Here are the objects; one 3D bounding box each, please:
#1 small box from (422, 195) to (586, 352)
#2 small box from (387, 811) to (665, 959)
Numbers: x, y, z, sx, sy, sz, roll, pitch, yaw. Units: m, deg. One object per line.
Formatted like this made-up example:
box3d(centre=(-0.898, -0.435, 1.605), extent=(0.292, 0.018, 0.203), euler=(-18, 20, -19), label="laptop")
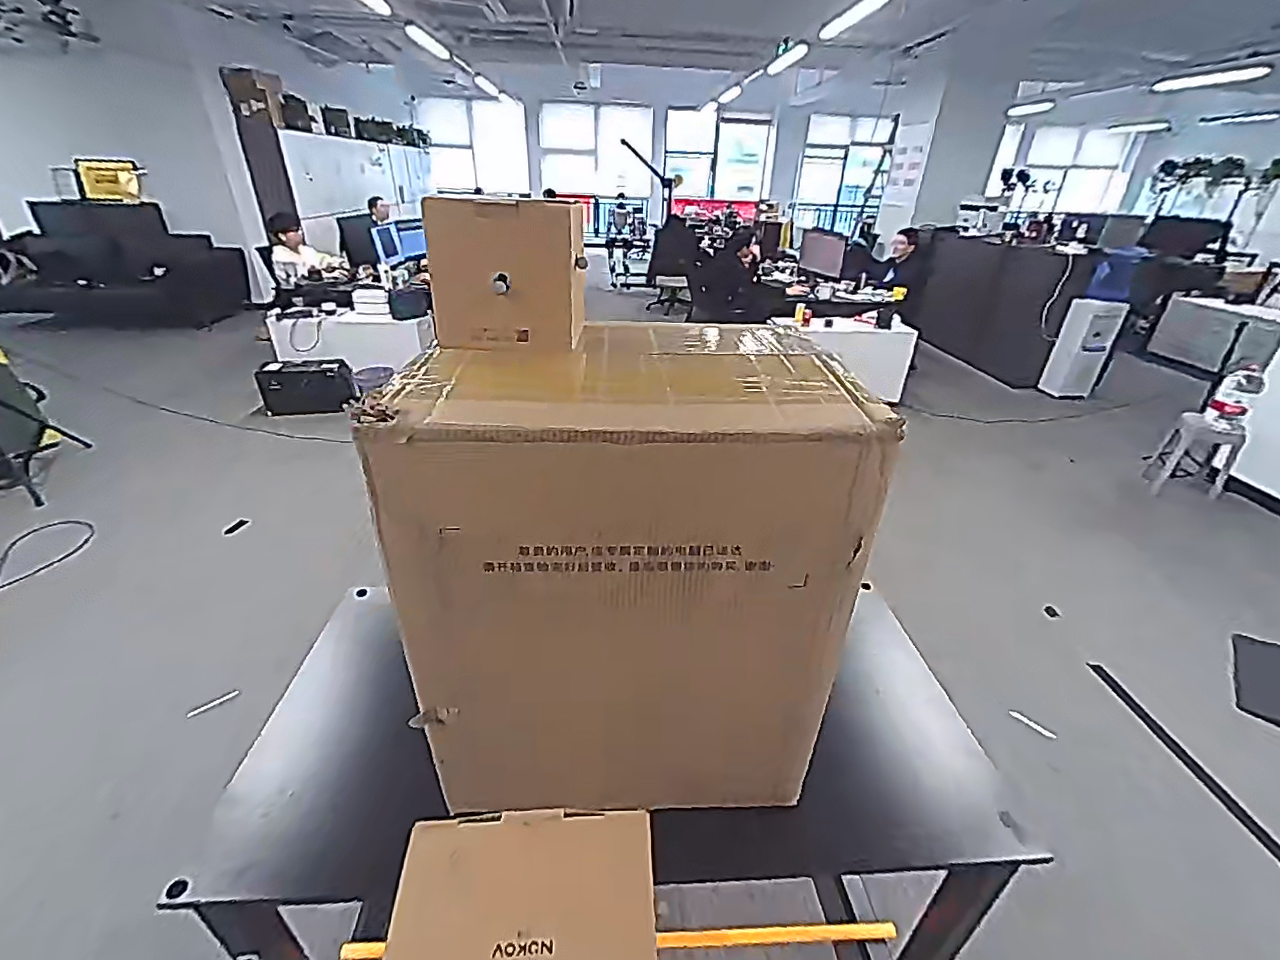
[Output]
box3d(centre=(-0.158, -0.267, 0.694), extent=(0.168, 0.176, 0.179), euler=(2, 28, -2), label="small box")
box3d(centre=(-0.070, 0.350, 0.362), extent=(0.168, 0.176, 0.179), euler=(0, 41, -4), label="small box")
